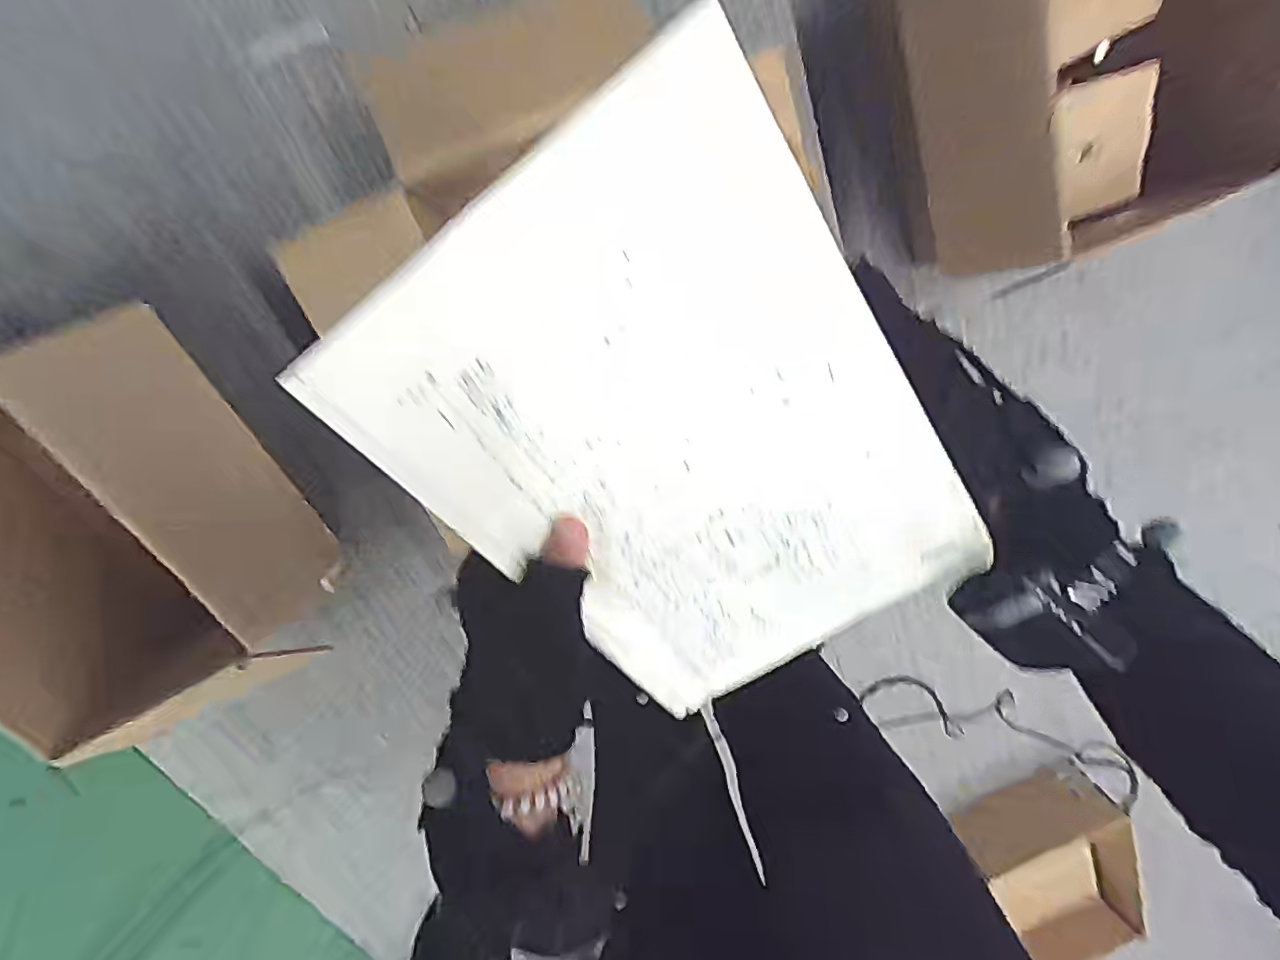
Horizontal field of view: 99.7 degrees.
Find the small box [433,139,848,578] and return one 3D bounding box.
[{"bbox_3d":[-0.002,-0.082,0.326,0.179,0.176,0.168,-28,131,-5],"label":"small box"}]
